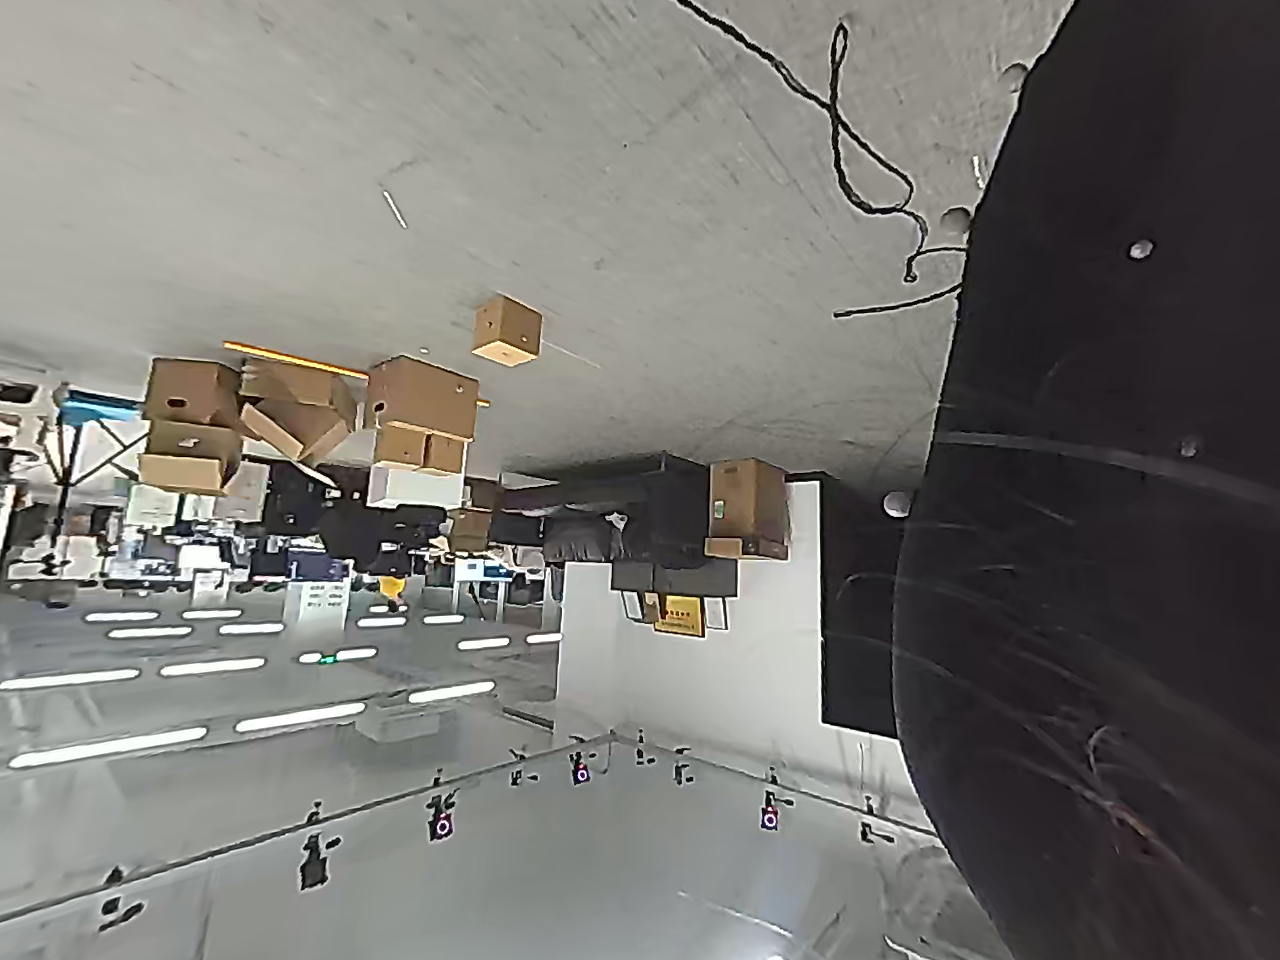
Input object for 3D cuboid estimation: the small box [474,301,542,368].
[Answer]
[{"bbox_3d":[-0.469,-0.520,1.925,0.168,0.176,0.179,-6,168,40],"label":"small box"}]
